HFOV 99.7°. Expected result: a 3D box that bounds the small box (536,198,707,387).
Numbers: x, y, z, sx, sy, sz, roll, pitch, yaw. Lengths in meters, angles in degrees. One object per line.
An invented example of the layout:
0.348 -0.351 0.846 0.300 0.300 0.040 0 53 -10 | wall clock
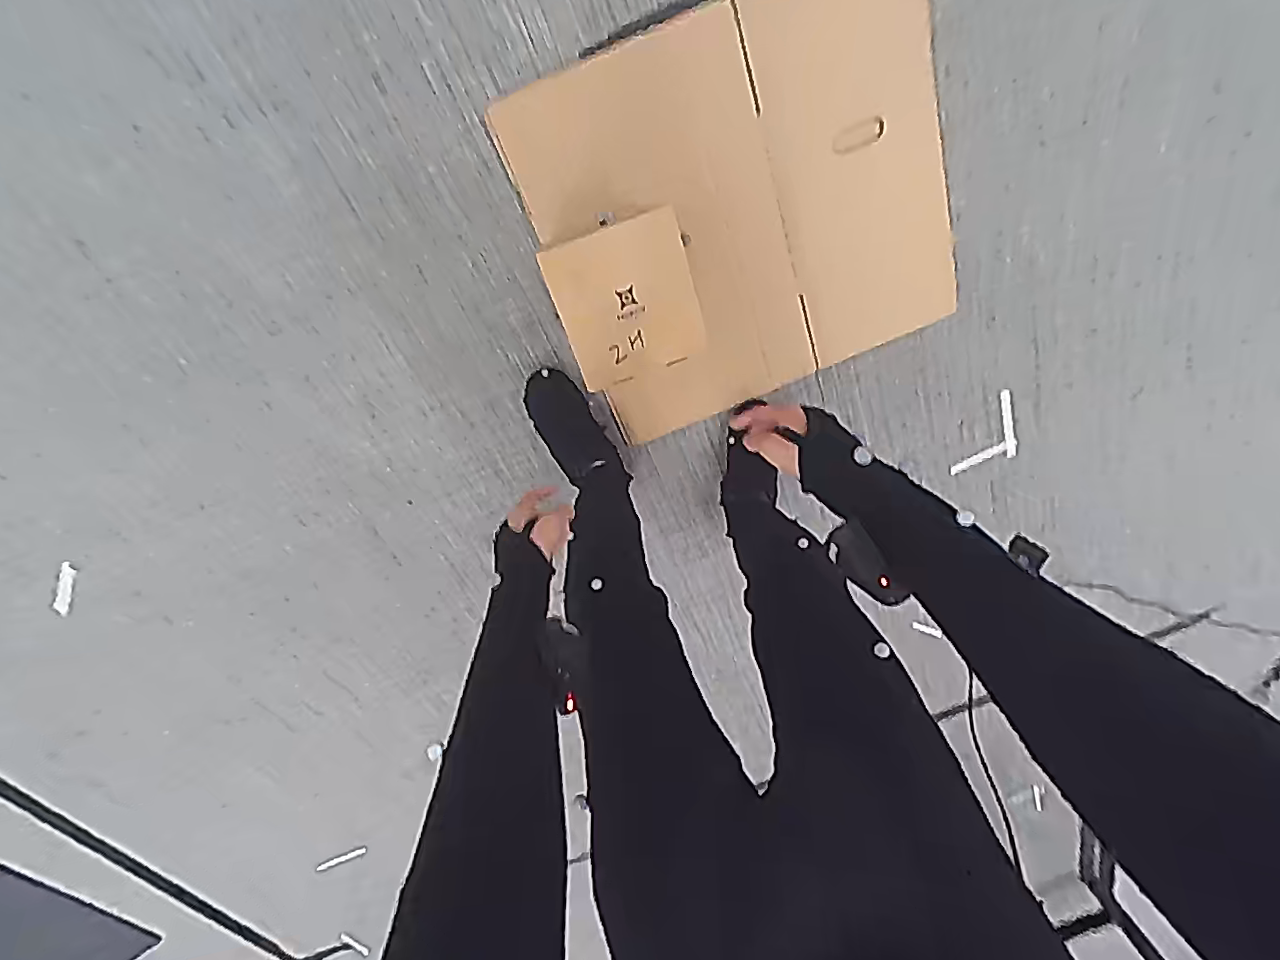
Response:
-0.028 -0.249 0.708 0.168 0.176 0.179 -19 118 2 | small box
